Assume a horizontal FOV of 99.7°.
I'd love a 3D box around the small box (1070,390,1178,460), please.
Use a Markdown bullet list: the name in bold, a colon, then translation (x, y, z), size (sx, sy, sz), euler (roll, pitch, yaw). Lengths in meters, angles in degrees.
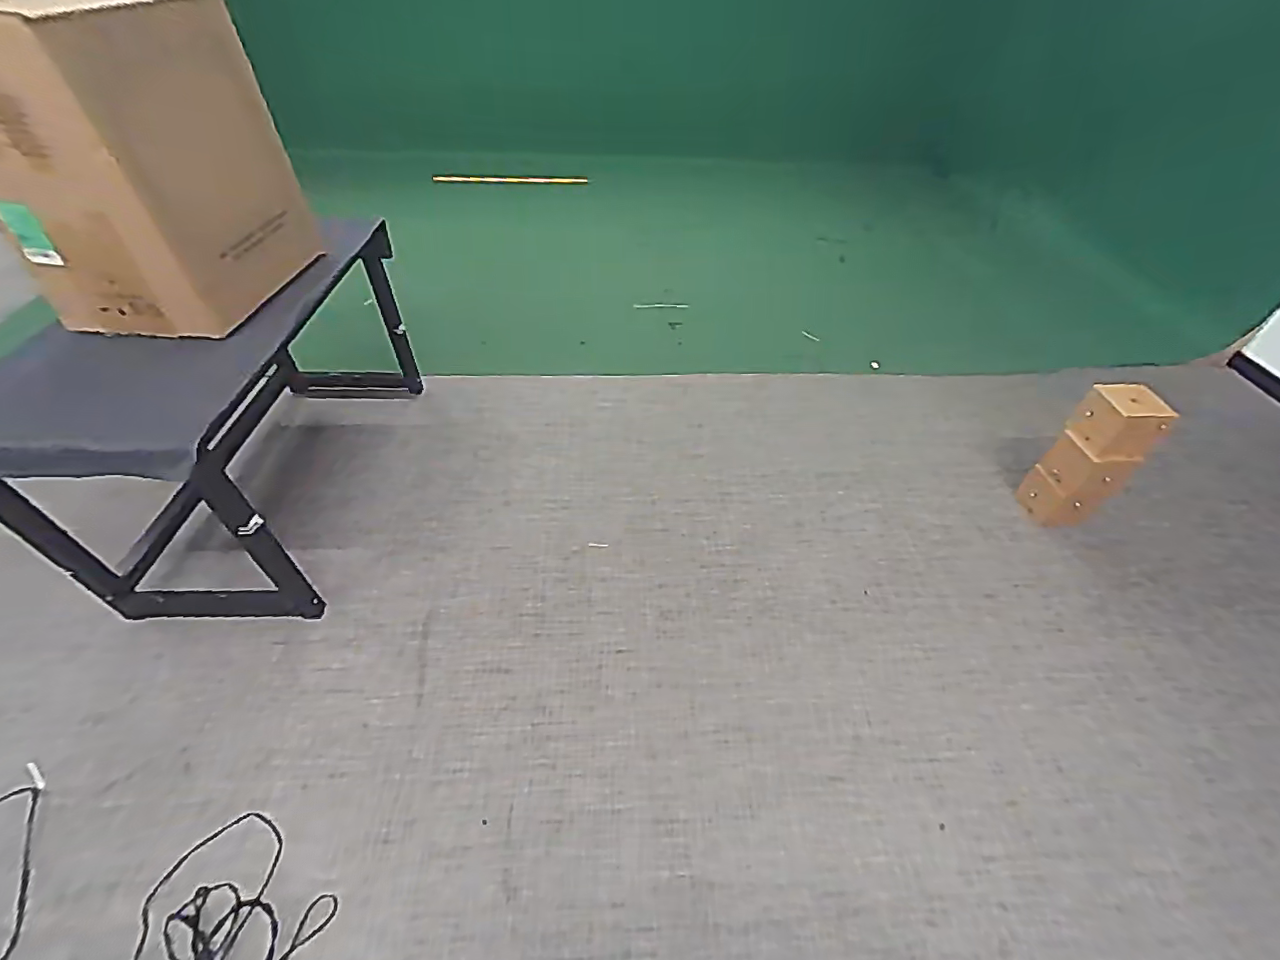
- **small box**: translation (1.553, -0.177, 1.756), size (0.179, 0.176, 0.168), euler (0, 45, -2)
